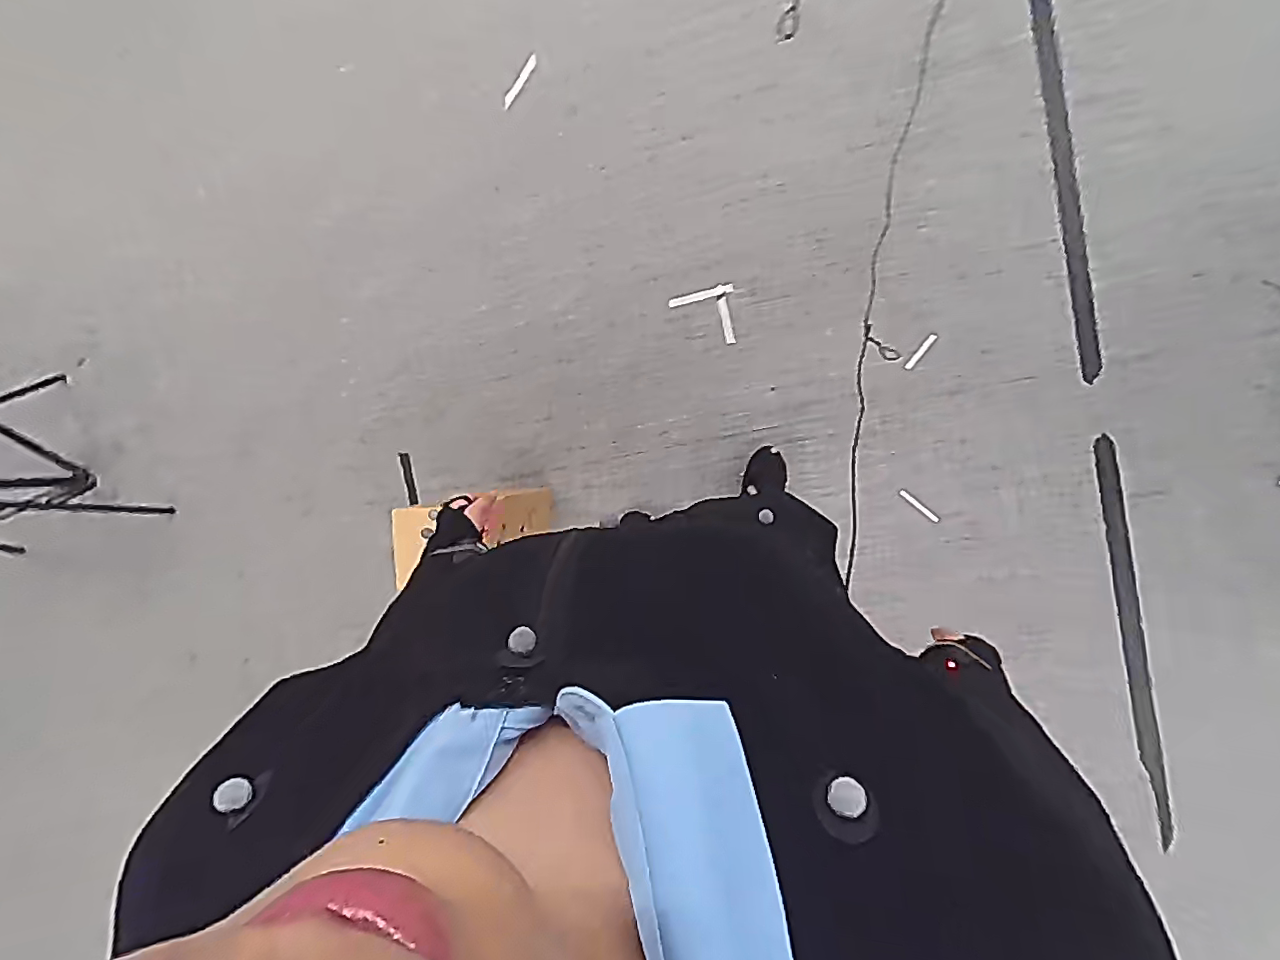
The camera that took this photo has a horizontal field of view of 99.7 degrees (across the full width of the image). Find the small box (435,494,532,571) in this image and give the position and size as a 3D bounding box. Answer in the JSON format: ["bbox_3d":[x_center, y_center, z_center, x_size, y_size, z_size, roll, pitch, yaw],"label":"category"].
[{"bbox_3d":[-0.367,0.123,1.303,0.179,0.176,0.168,-3,92,9],"label":"small box"}]

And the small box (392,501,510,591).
[{"bbox_3d":[-0.392,0.135,1.143,0.179,0.176,0.168,-4,92,8],"label":"small box"}]
